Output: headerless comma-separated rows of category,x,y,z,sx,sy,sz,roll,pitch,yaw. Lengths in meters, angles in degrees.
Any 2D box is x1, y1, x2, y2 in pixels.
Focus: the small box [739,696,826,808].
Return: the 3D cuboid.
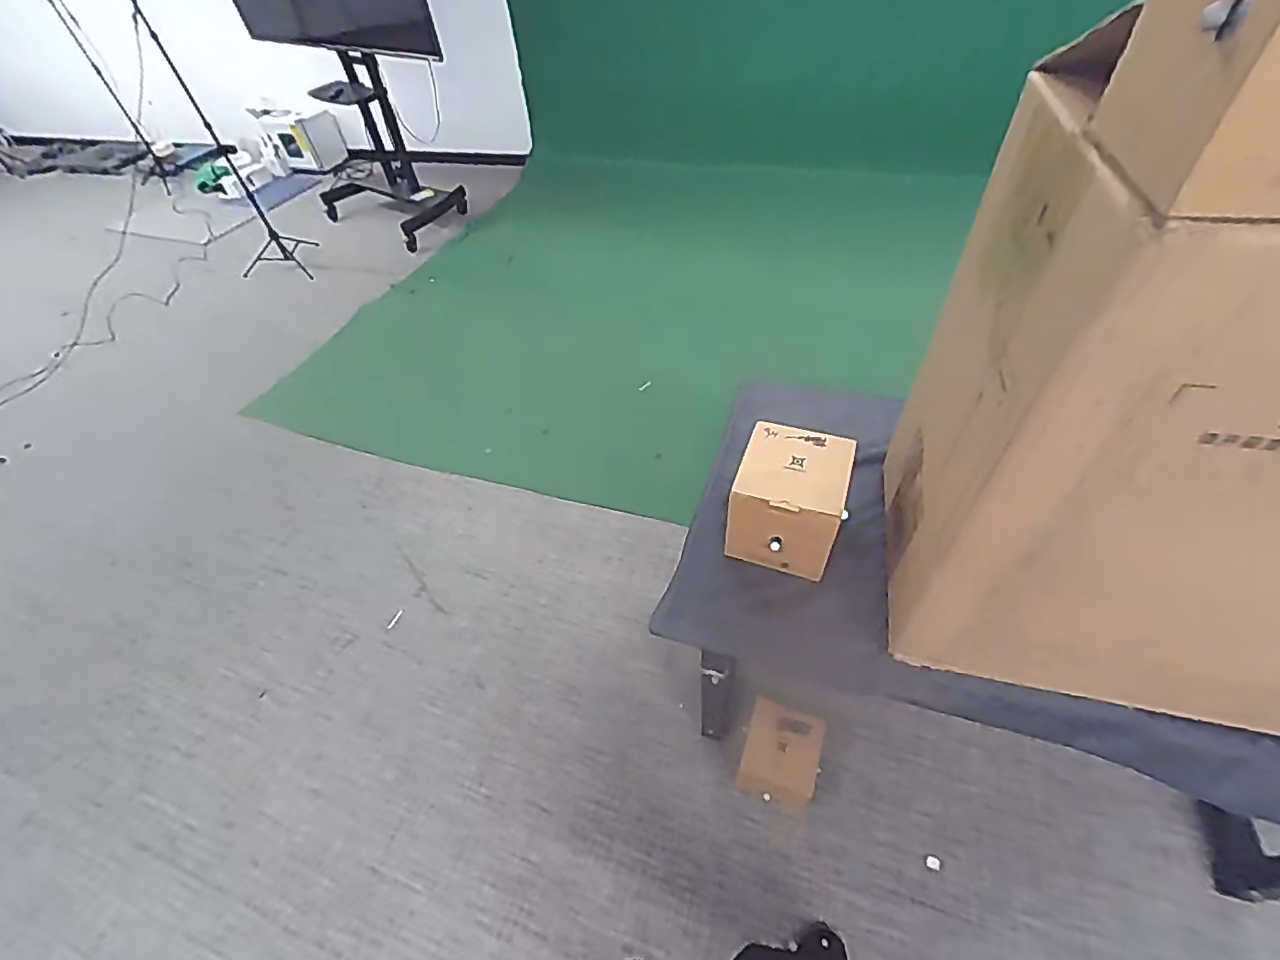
small box,0.344,0.667,1.325,0.168,0.176,0.179,14,53,19
